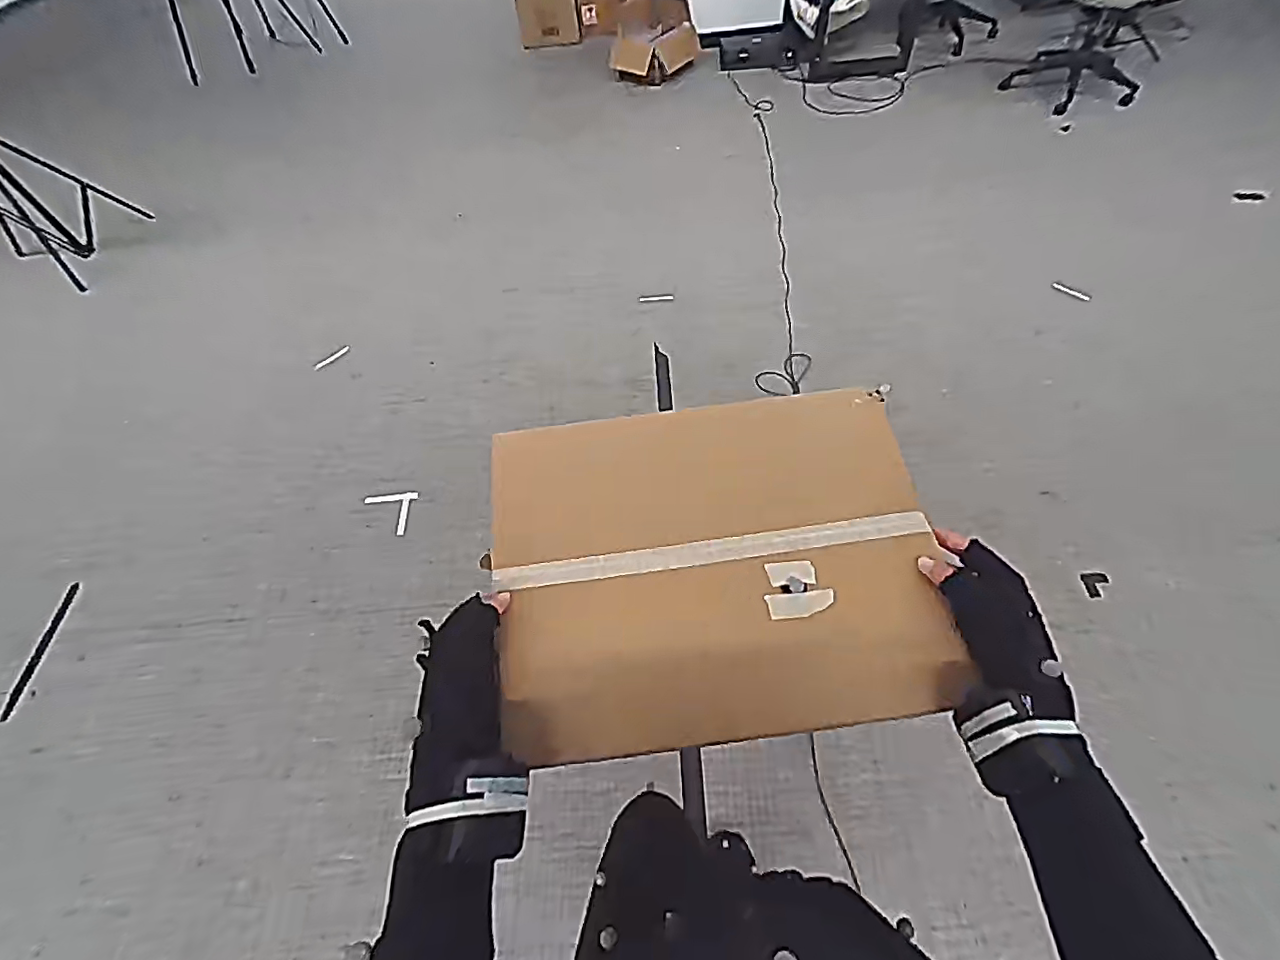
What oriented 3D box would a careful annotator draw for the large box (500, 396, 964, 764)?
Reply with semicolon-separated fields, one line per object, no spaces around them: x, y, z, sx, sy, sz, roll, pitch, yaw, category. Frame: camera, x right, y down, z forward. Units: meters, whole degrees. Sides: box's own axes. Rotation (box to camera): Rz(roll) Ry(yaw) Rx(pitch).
0.070;0.136;0.658;0.408;0.320;0.320;-8;66;-1;large box
